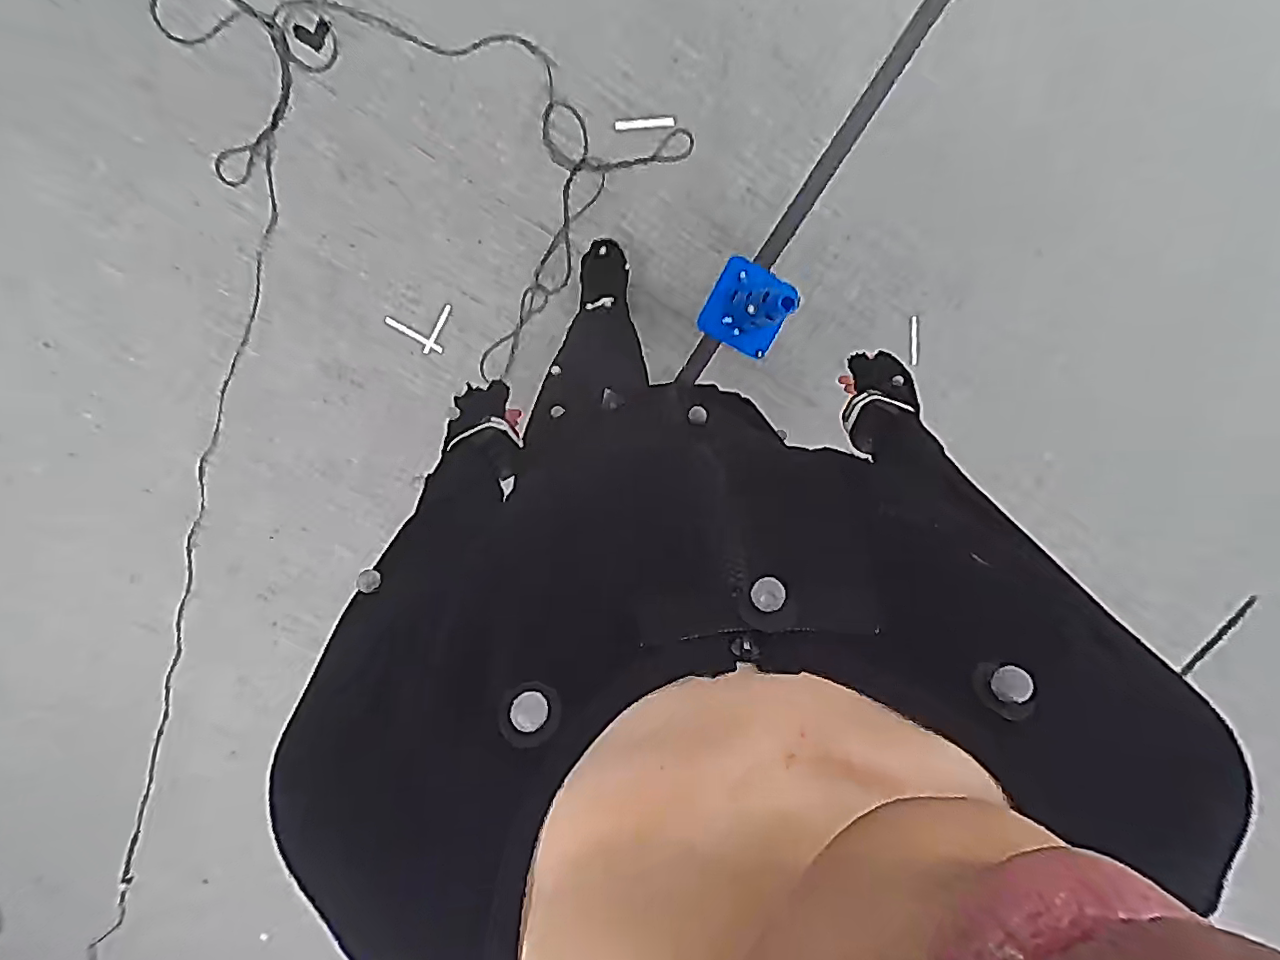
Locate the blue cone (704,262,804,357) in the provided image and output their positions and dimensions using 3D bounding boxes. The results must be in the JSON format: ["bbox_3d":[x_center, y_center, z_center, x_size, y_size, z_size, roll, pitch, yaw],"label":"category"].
[{"bbox_3d":[0.280,-0.387,1.215,0.192,0.380,0.193,28,103,-10],"label":"blue cone"}]
